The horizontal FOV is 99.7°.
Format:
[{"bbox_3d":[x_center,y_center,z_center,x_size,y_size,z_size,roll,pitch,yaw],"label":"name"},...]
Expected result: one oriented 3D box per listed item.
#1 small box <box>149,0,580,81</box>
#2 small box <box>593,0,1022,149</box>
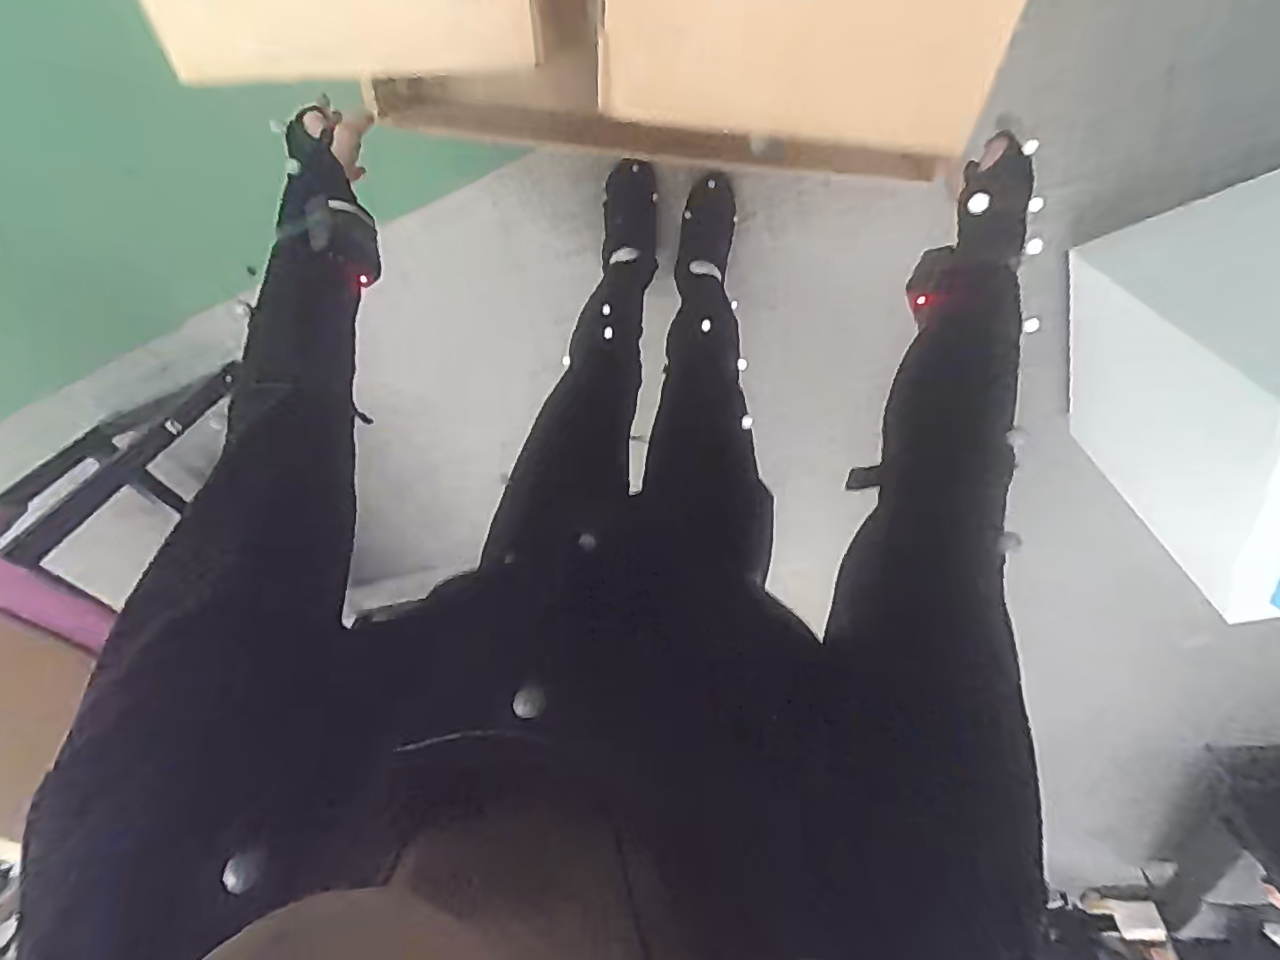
[{"bbox_3d":[-0.127,-0.302,0.255,0.179,0.176,0.168,1,131,5],"label":"small box"},{"bbox_3d":[0.080,-0.278,0.259,0.179,0.176,0.168,8,133,3],"label":"small box"}]
